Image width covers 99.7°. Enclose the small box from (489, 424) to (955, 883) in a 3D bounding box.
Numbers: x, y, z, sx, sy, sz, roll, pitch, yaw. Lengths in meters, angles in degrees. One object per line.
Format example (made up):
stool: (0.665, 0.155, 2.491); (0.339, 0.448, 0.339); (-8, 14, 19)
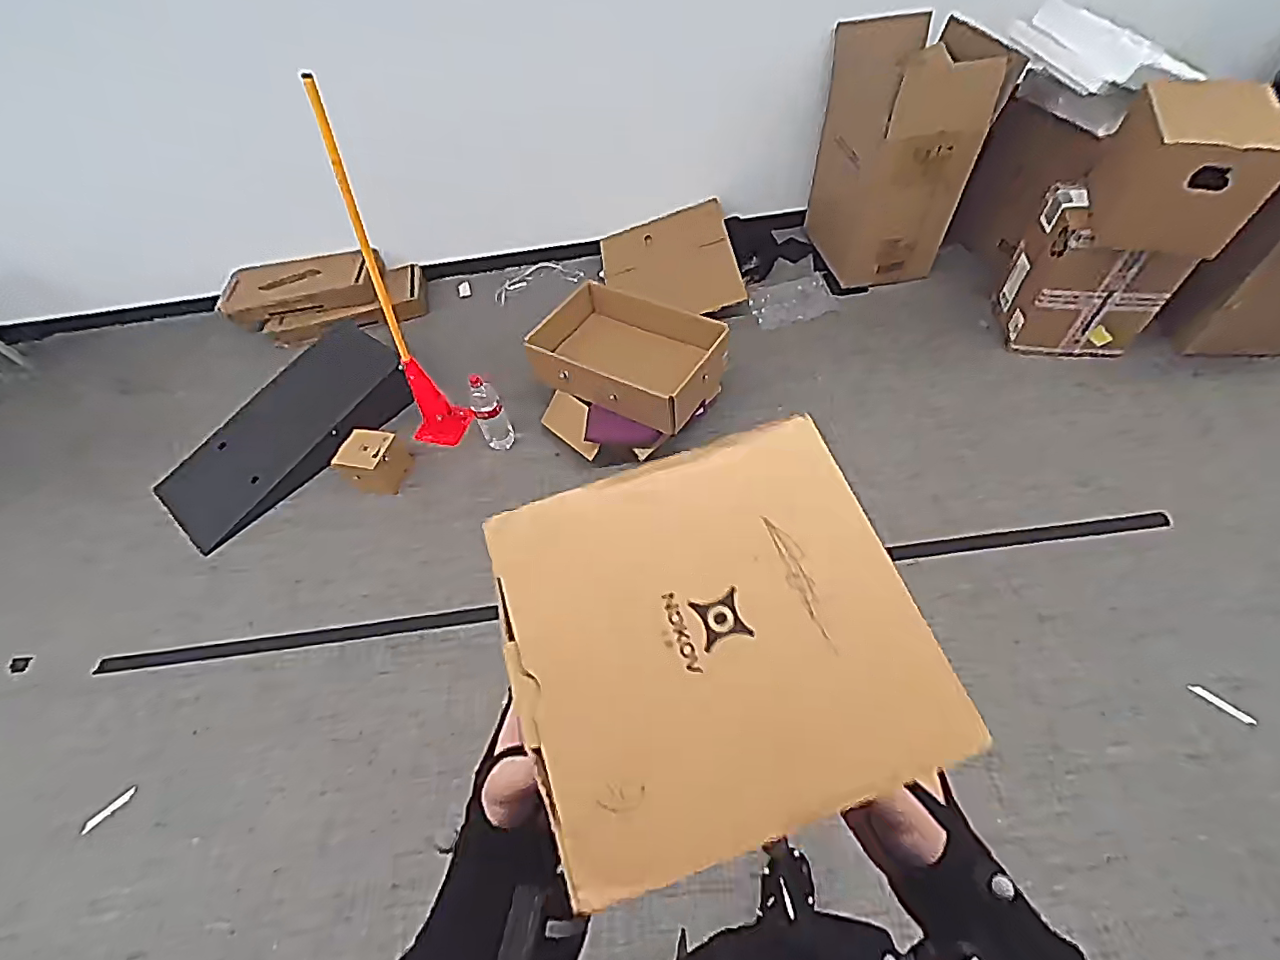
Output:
small box: (0.032, 0.098, 0.326); (0.179, 0.176, 0.168); (-19, 67, -7)
